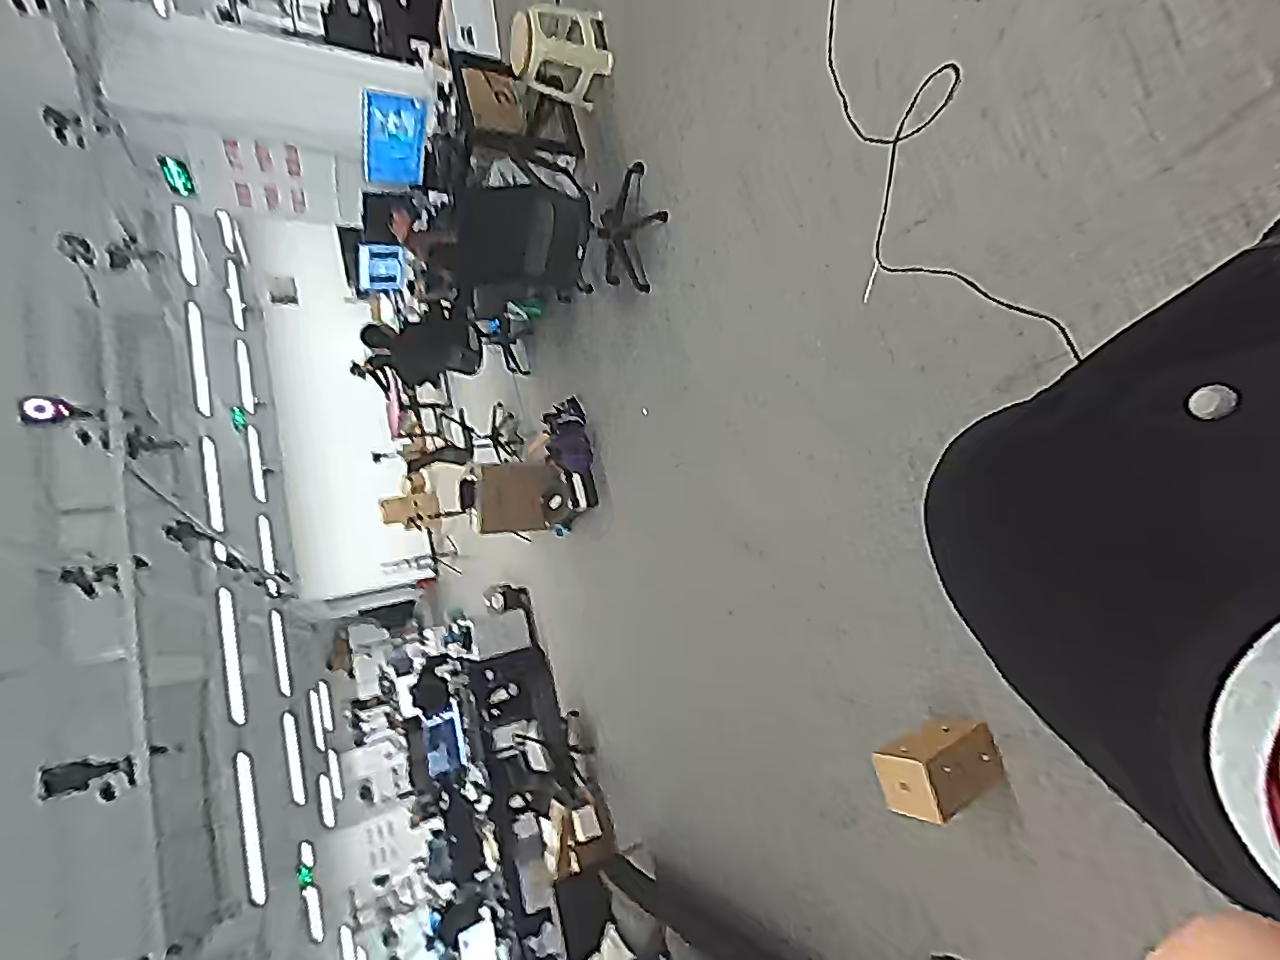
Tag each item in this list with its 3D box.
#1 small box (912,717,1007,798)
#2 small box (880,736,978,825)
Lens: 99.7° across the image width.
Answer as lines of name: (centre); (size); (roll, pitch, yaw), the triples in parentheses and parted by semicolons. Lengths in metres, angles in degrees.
small box: (0.995, 0.850, 1.674); (0.179, 0.176, 0.168); (-36, 68, 58)
small box: (0.856, 0.874, 1.593); (0.179, 0.176, 0.168); (-36, 67, 60)
